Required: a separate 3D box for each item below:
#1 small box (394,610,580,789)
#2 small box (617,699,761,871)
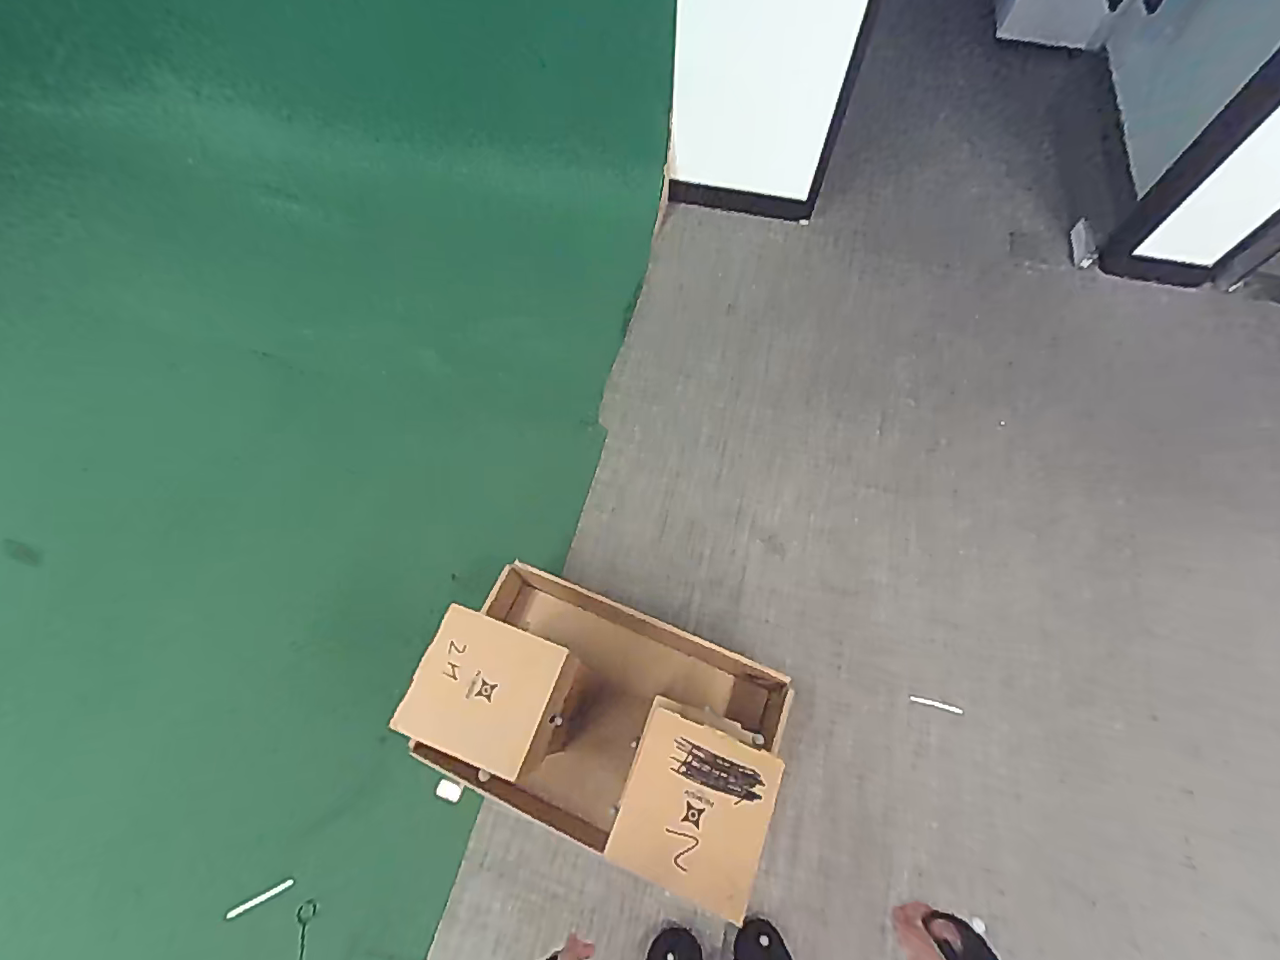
[{"bbox_3d":[-0.194,0.301,0.754,0.179,0.176,0.168,19,67,8],"label":"small box"},{"bbox_3d":[0.076,0.468,0.852,0.168,0.176,0.179,19,66,10],"label":"small box"}]
